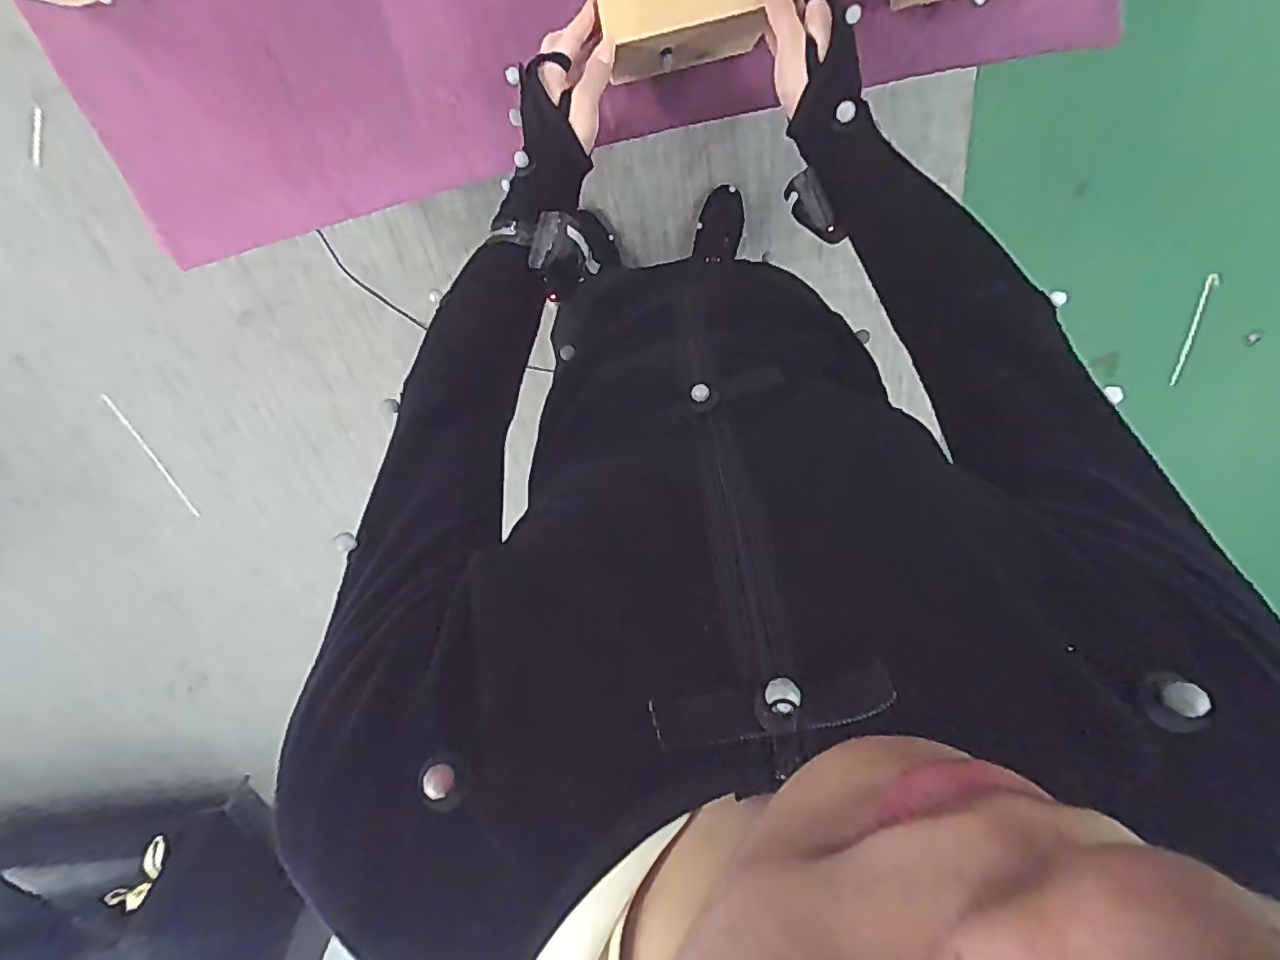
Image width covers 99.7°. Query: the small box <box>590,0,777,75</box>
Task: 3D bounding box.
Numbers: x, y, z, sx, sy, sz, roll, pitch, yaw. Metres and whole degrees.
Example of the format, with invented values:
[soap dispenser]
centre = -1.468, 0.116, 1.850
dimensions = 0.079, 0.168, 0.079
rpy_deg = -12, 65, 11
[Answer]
[small box]
centre = 0.029, -0.516, 0.515
dimensions = 0.168, 0.176, 0.179
rpy_deg = -10, 115, 6
